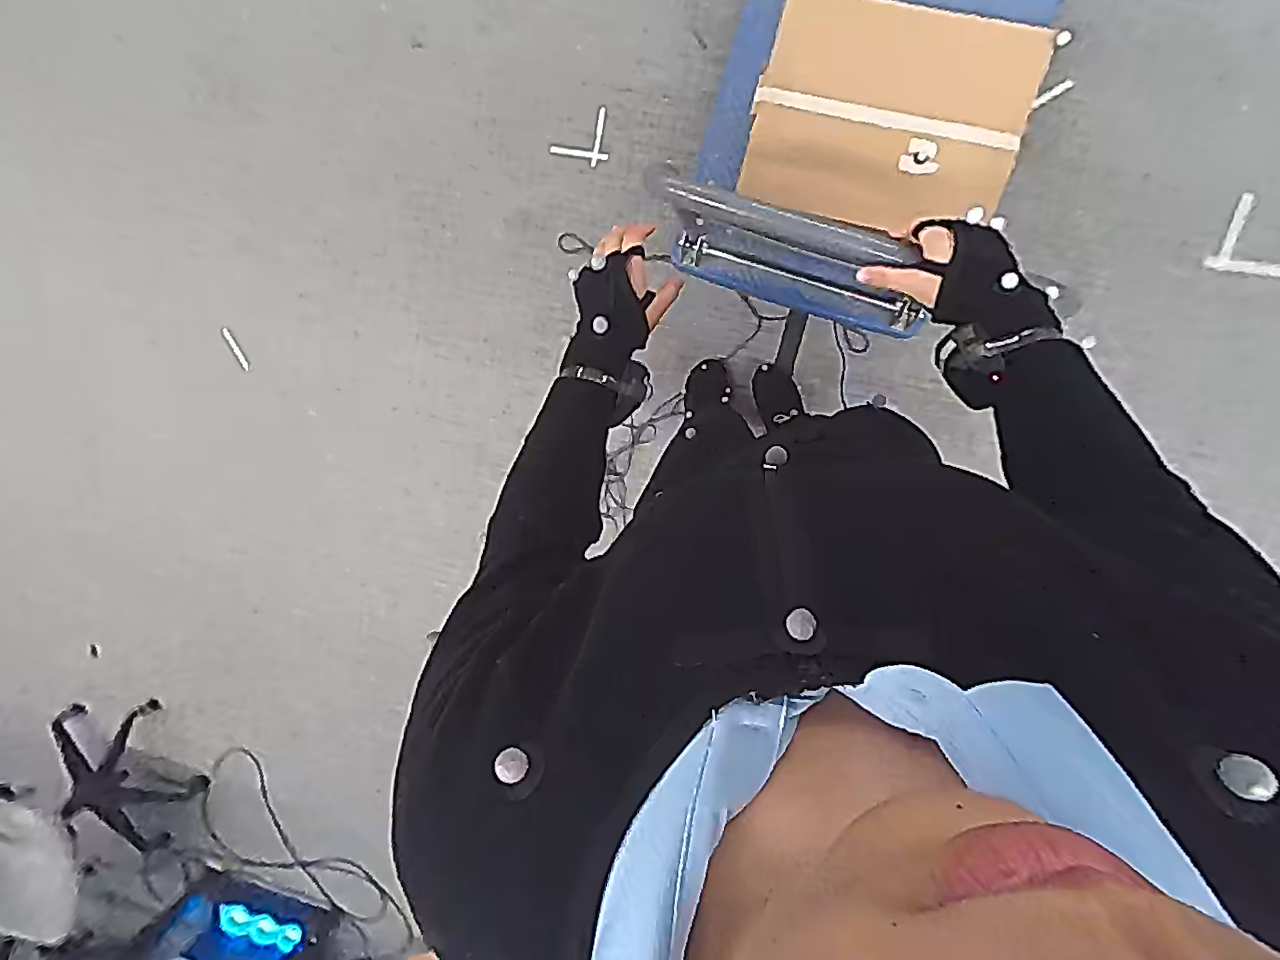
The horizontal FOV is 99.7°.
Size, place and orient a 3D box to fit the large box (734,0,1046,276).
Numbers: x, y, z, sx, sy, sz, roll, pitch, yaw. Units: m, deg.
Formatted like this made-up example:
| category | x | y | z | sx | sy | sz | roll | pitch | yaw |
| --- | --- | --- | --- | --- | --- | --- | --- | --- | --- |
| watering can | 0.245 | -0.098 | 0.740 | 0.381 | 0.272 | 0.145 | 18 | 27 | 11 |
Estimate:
| category | x | y | z | sx | sy | sz | roll | pitch | yaw |
| --- | --- | --- | --- | --- | --- | --- | --- | --- | --- |
| large box | 0.409 | -0.601 | 1.010 | 0.408 | 0.320 | 0.320 | 15 | 104 | 5 |
